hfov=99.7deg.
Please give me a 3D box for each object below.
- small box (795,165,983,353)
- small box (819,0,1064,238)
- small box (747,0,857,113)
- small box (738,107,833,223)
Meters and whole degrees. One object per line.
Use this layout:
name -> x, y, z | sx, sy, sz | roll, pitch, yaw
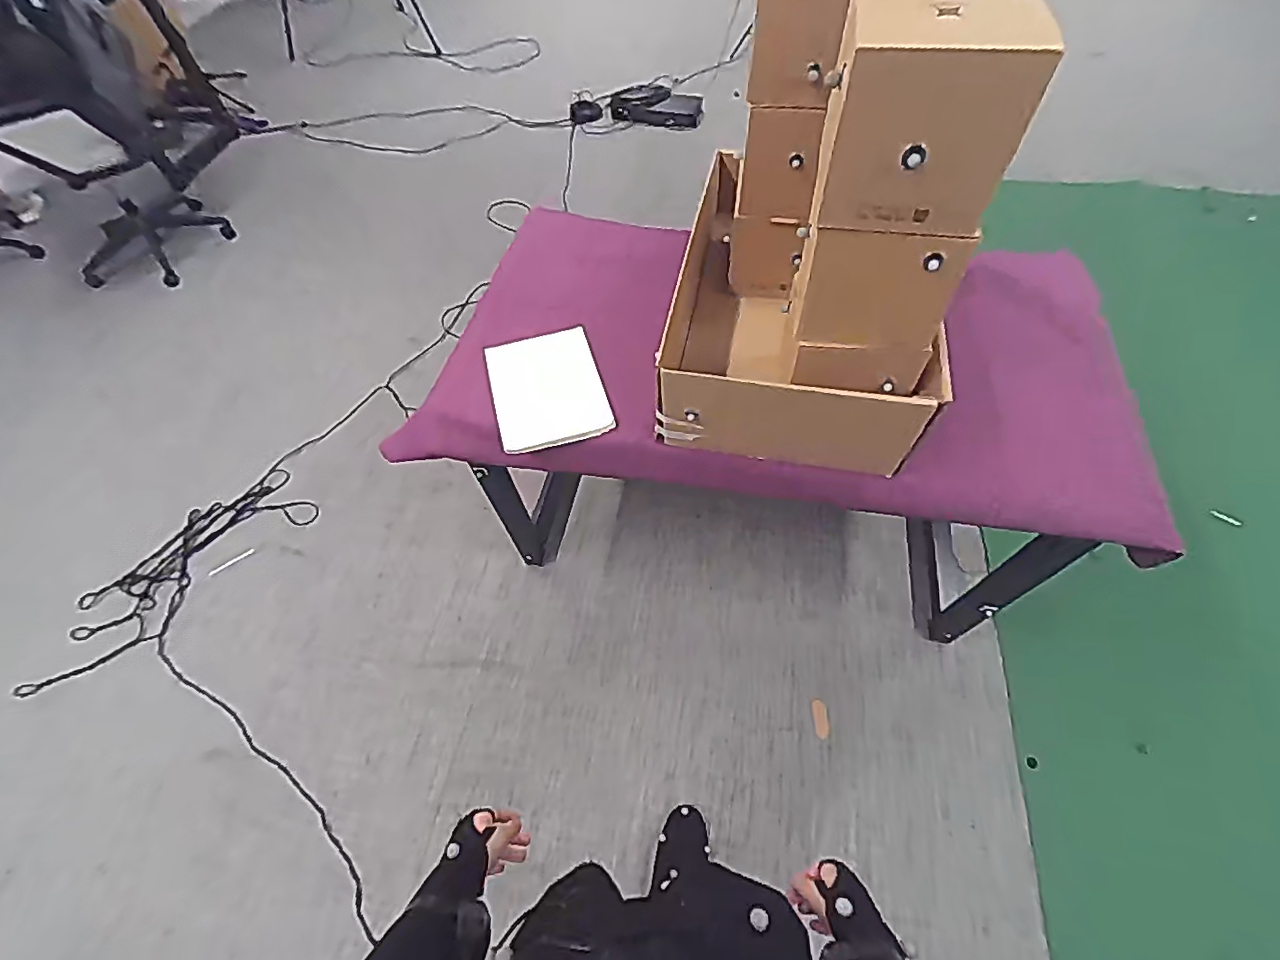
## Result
small box -> 0.305, -0.285, 0.700 | 0.179, 0.176, 0.168 | 9, 57, 9
small box -> 0.290, -0.378, 0.565 | 0.168, 0.176, 0.179 | 9, 56, 9
small box -> 0.252, -0.625, 0.732 | 0.179, 0.176, 0.168 | 9, 59, 8
small box -> 0.261, -0.536, 0.869 | 0.179, 0.176, 0.168 | 7, 59, 7
